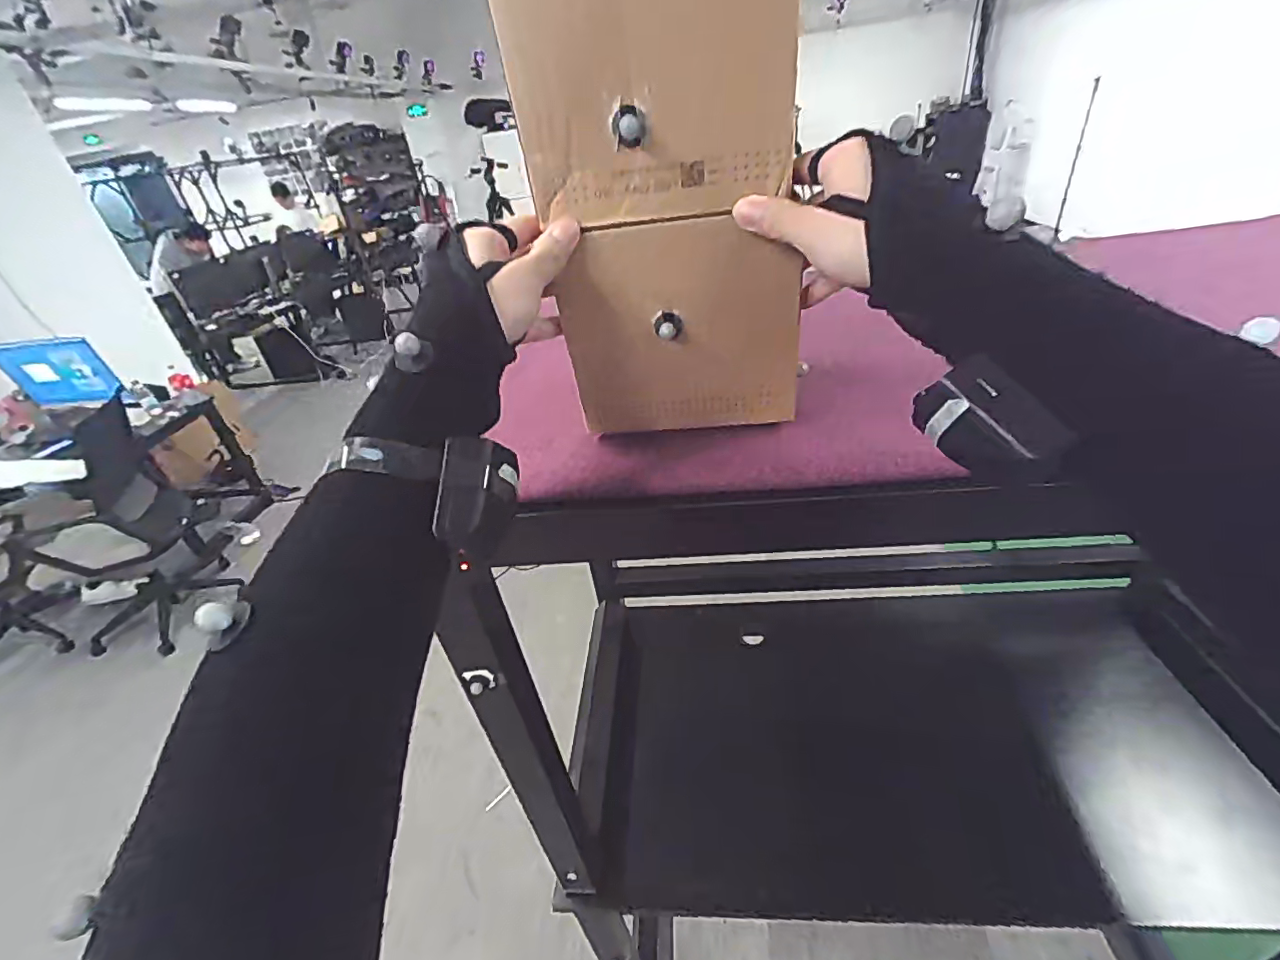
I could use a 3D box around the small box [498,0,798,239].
[{"bbox_3d":[0.011,-0.280,0.372,0.168,0.176,0.179,-4,40,8],"label":"small box"}]
